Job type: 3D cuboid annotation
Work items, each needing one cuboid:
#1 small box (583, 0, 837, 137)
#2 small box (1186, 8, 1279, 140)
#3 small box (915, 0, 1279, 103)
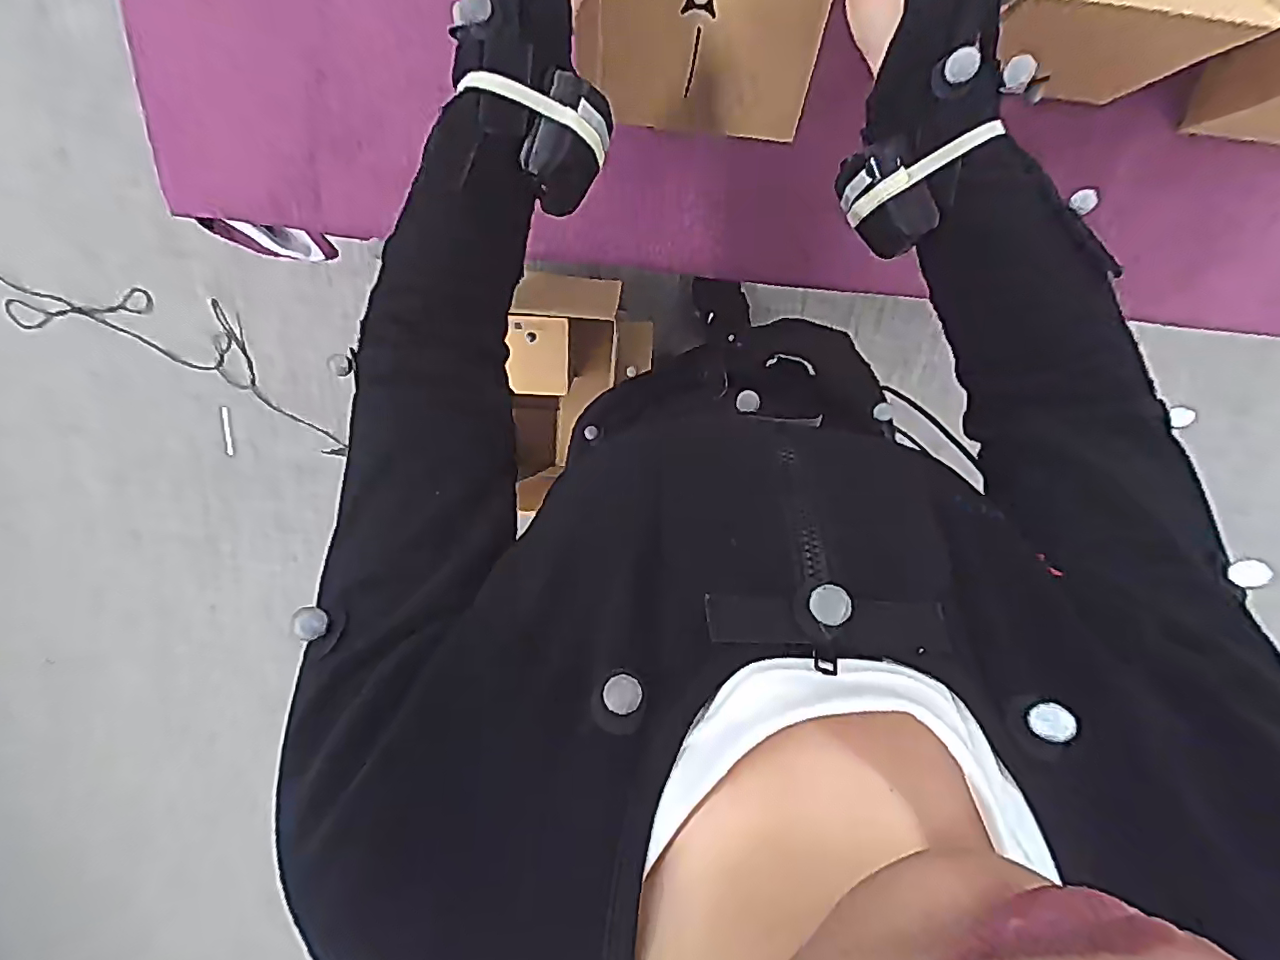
[{"bbox_3d":[0.051,-0.383,0.388,0.168,0.176,0.179,6,142,-1],"label":"small box"},{"bbox_3d":[0.580,-0.359,0.387,0.179,0.176,0.168,9,108,1],"label":"small box"},{"bbox_3d":[0.339,-0.405,0.390,0.179,0.176,0.168,9,109,2],"label":"small box"}]
